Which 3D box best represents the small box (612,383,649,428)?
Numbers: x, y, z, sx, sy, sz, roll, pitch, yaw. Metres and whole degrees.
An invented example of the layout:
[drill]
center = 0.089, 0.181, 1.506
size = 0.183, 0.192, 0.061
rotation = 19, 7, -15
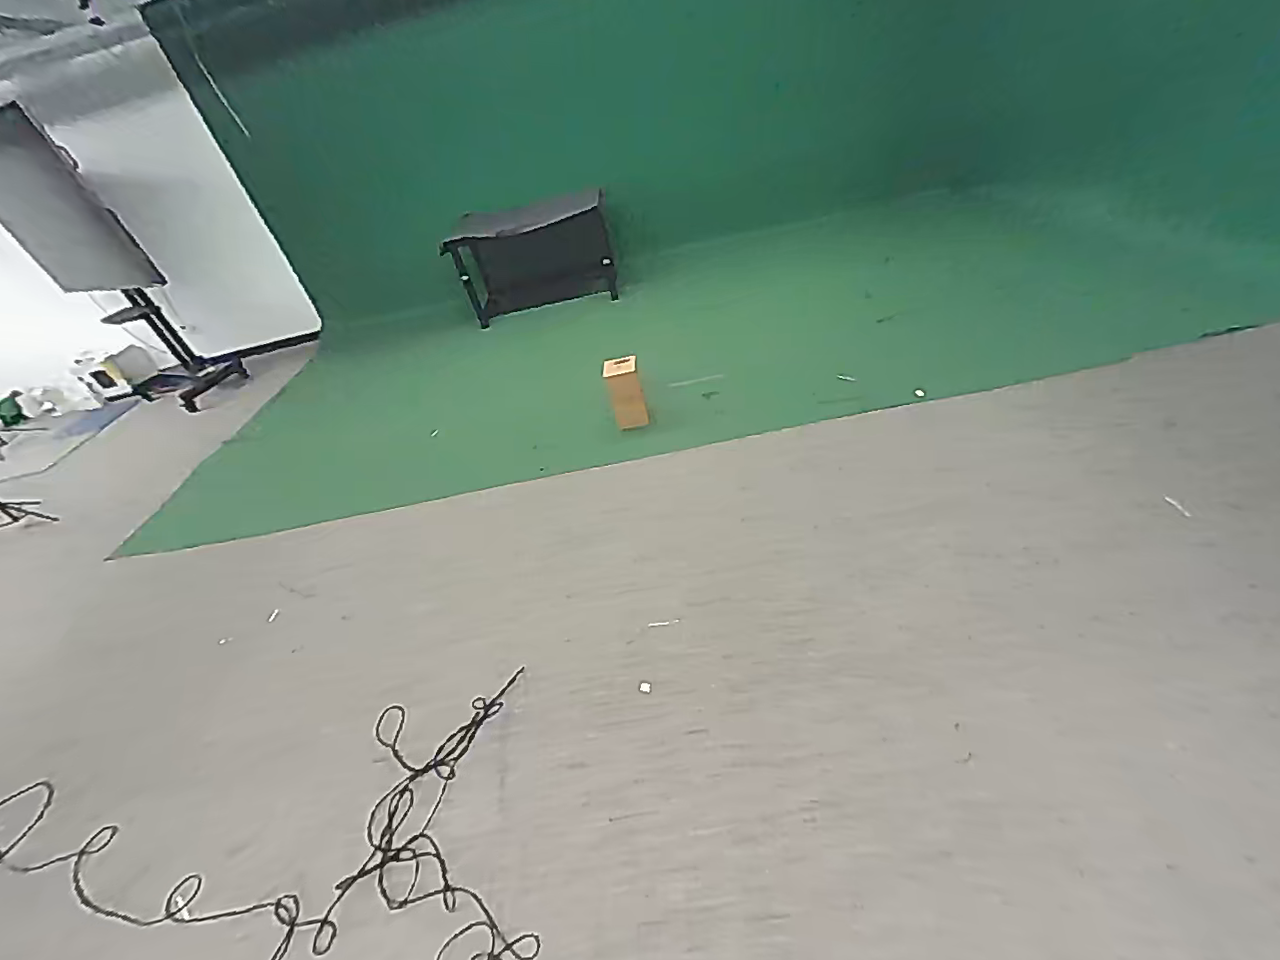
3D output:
[small box]
center = -0.050, -0.393, 2.905
size = 0.168, 0.176, 0.179
rotation = -11, 37, 7
